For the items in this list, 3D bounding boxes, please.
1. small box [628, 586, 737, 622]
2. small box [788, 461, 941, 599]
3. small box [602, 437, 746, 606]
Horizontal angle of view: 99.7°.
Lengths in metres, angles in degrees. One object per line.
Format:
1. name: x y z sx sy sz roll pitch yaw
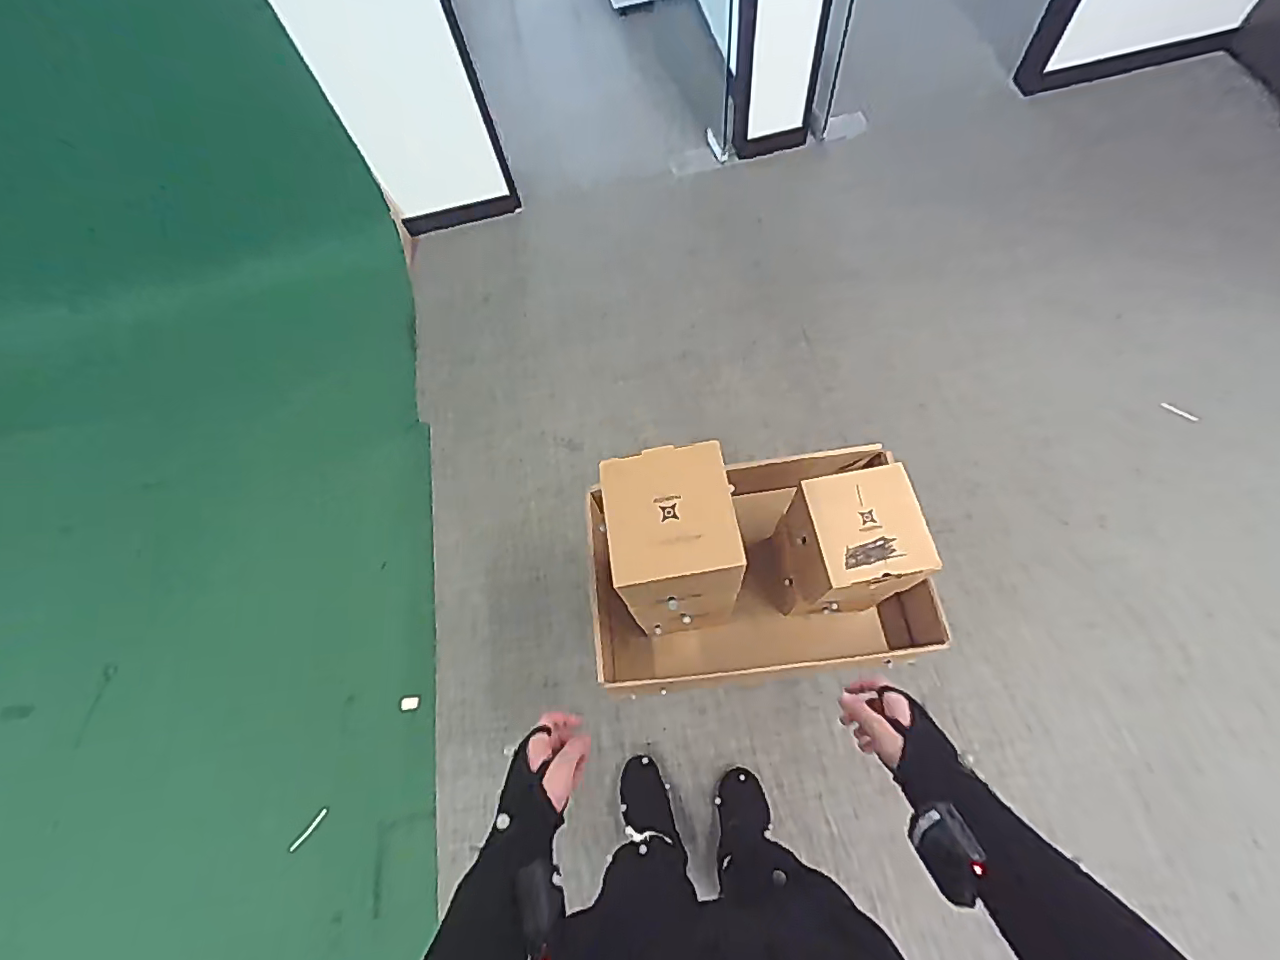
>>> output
1. small box: 0.061 0.128 0.906 0.168 0.176 0.179 -10 66 2
2. small box: 0.354 0.092 0.891 0.168 0.176 0.179 -10 66 1
3. small box: 0.045 0.065 0.756 0.168 0.176 0.179 -9 66 3
